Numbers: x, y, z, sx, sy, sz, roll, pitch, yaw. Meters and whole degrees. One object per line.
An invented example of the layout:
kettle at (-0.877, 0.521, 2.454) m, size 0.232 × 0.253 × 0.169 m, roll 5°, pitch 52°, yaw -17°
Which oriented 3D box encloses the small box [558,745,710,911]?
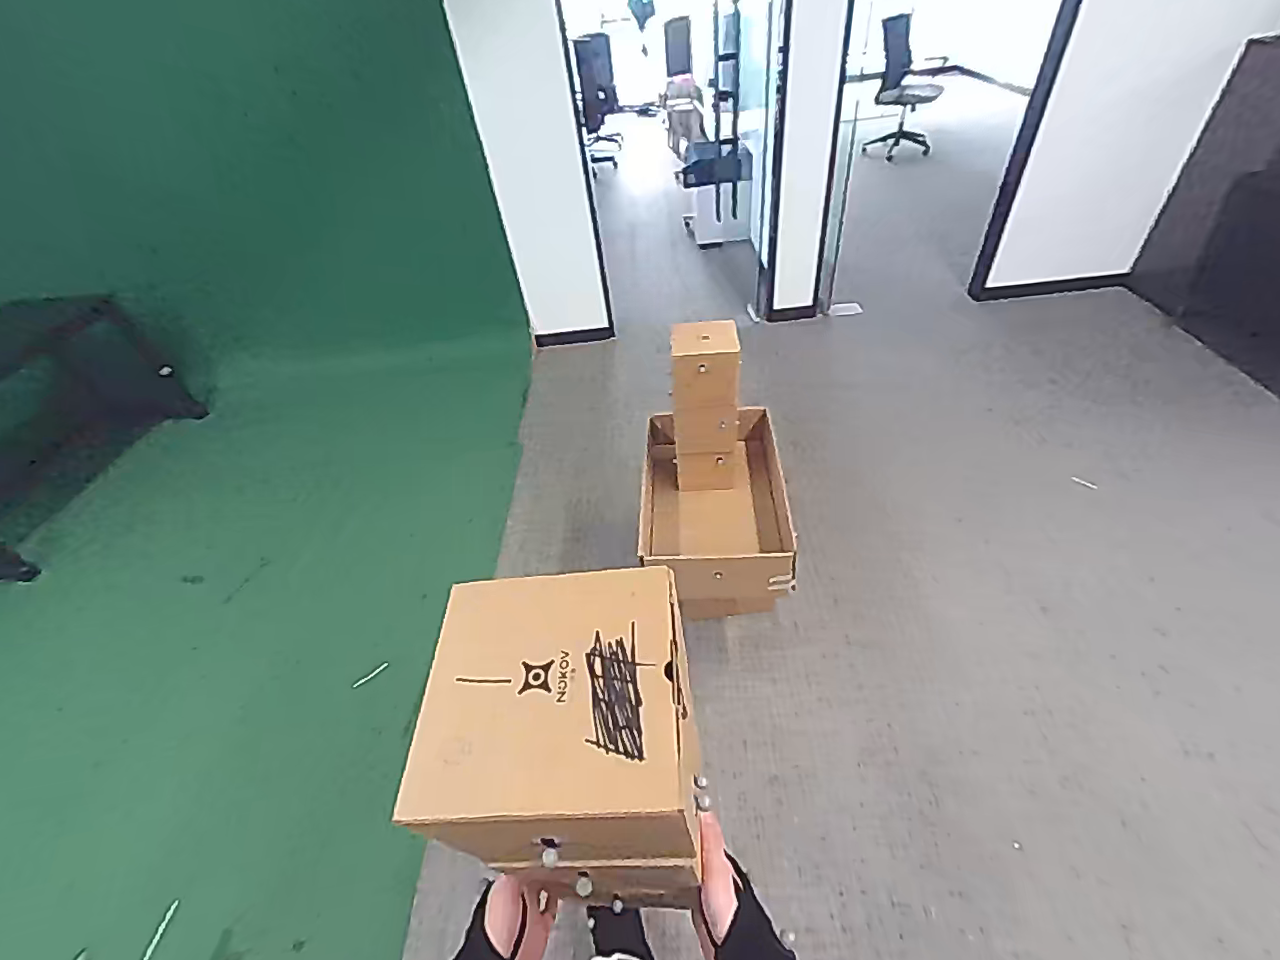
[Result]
small box at (-0.007, 0.412, 0.662) m, size 0.179 × 0.176 × 0.168 m, roll -2°, pitch 47°, yaw 7°

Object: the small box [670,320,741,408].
small box at (0.171, -0.309, 1.453) m, size 0.179 × 0.176 × 0.168 m, roll -3°, pitch 44°, yaw 5°

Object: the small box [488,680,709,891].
small box at (-0.026, 0.301, 0.544) m, size 0.179 × 0.176 × 0.168 m, roll -4°, pitch 48°, yaw 7°

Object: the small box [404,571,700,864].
small box at (-0.044, 0.189, 0.424) m, size 0.179 × 0.176 × 0.168 m, roll -5°, pitch 47°, yaw 6°
